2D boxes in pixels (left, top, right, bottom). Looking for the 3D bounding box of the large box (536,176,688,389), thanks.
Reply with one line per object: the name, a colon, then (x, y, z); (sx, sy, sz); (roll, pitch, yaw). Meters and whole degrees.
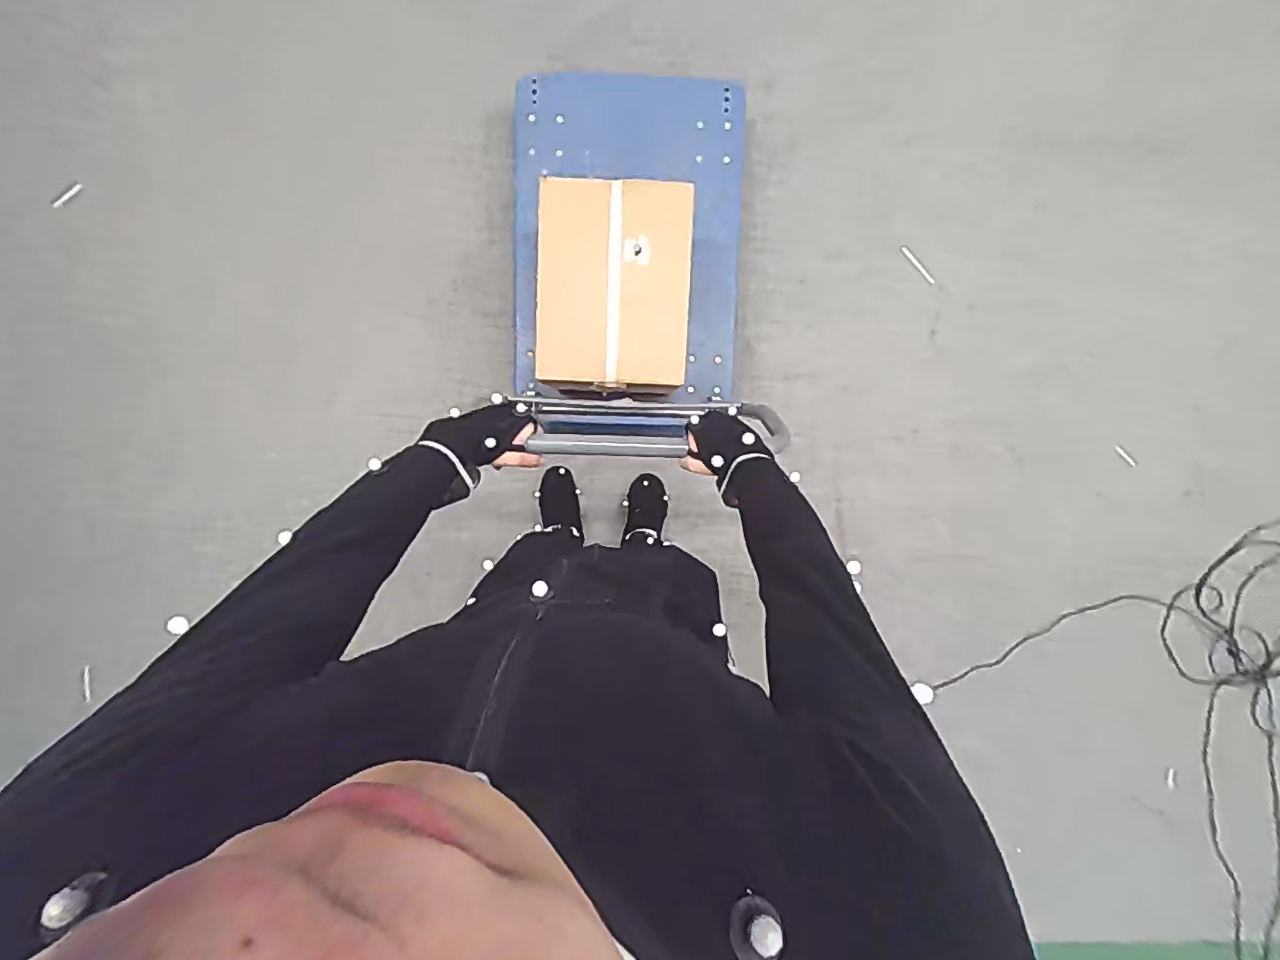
large box: (-0.060, -0.426, 1.261); (0.320, 0.320, 0.408); (2, 95, -2)
